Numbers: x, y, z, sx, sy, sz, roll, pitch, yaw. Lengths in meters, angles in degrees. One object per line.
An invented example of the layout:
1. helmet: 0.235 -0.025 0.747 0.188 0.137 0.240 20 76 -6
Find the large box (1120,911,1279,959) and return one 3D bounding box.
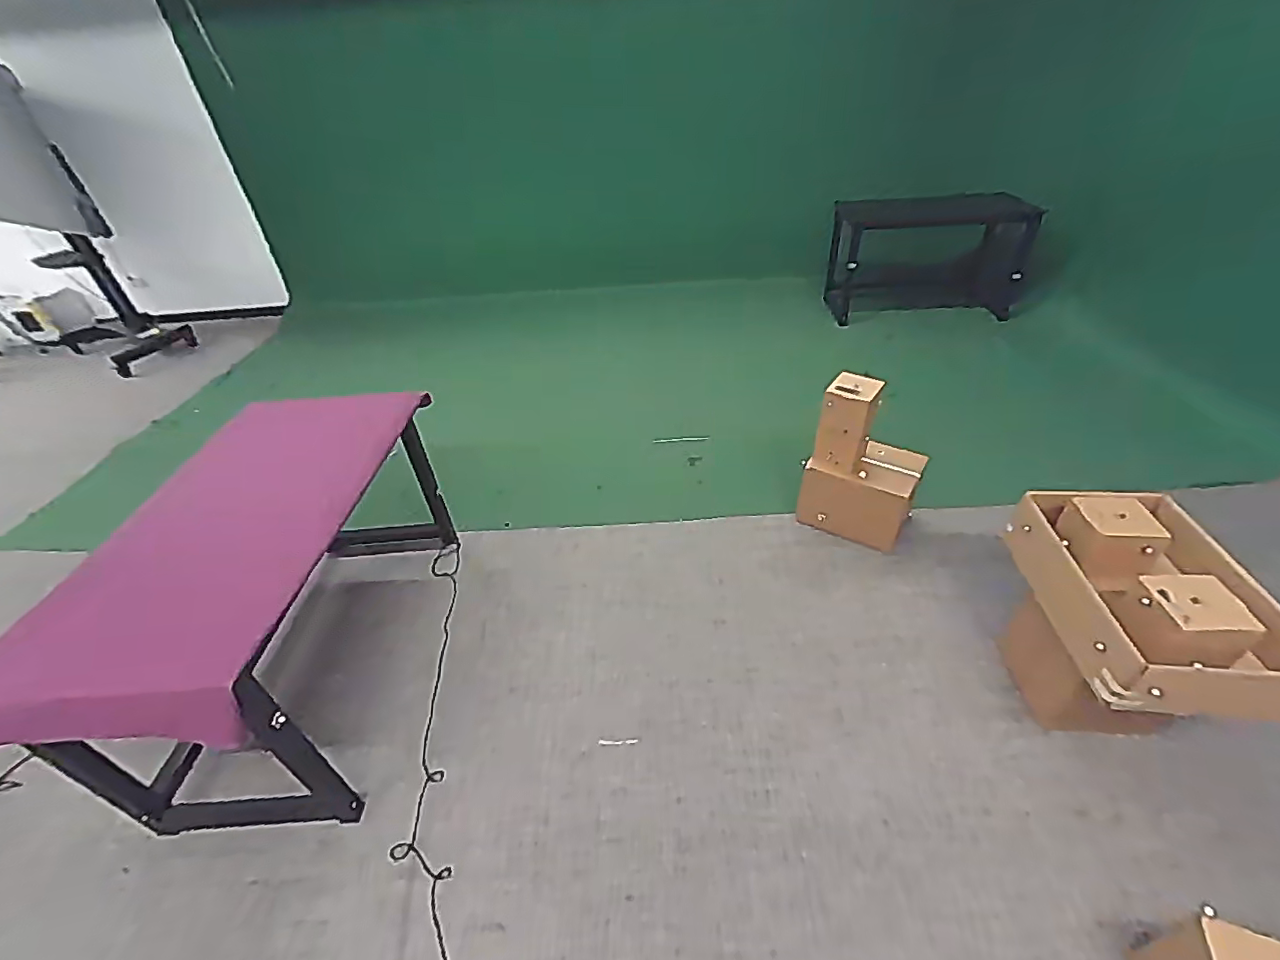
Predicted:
1. large box: 1.146 1.102 0.951 0.320 0.320 0.408 12 40 19

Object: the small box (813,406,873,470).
1. small box: 0.816 -0.169 2.191 0.168 0.176 0.179 23 47 29
